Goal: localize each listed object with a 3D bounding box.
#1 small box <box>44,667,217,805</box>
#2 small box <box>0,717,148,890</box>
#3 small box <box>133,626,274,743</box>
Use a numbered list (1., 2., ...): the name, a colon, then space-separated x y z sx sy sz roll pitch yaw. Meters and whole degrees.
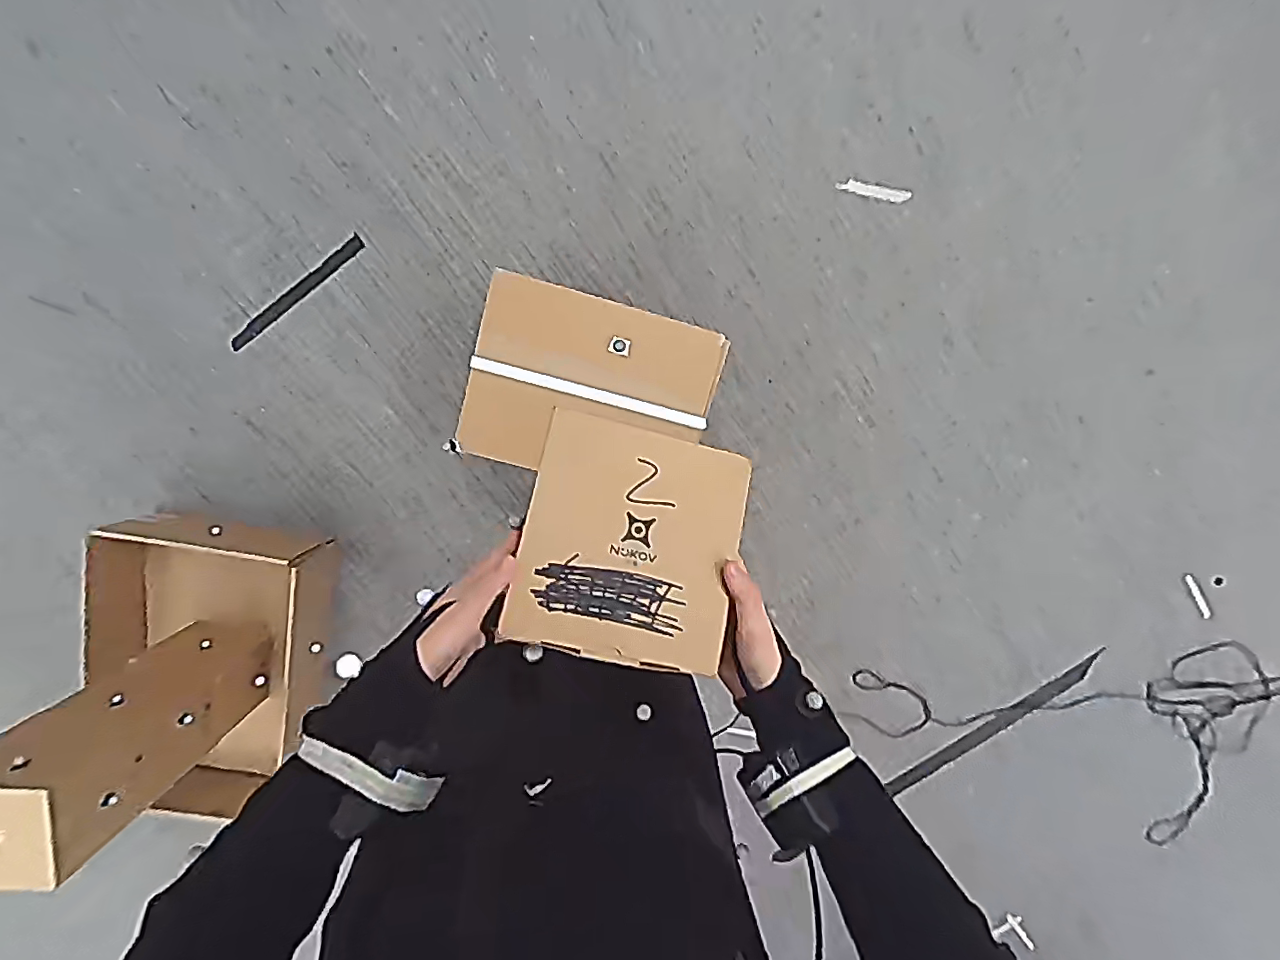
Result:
1. small box: -0.928 0.467 1.005 0.179 0.176 0.168 5 99 -3
2. small box: -0.916 0.492 0.841 0.179 0.176 0.168 5 99 -4
3. small box: -0.933 0.431 1.163 0.179 0.176 0.168 10 100 -5
